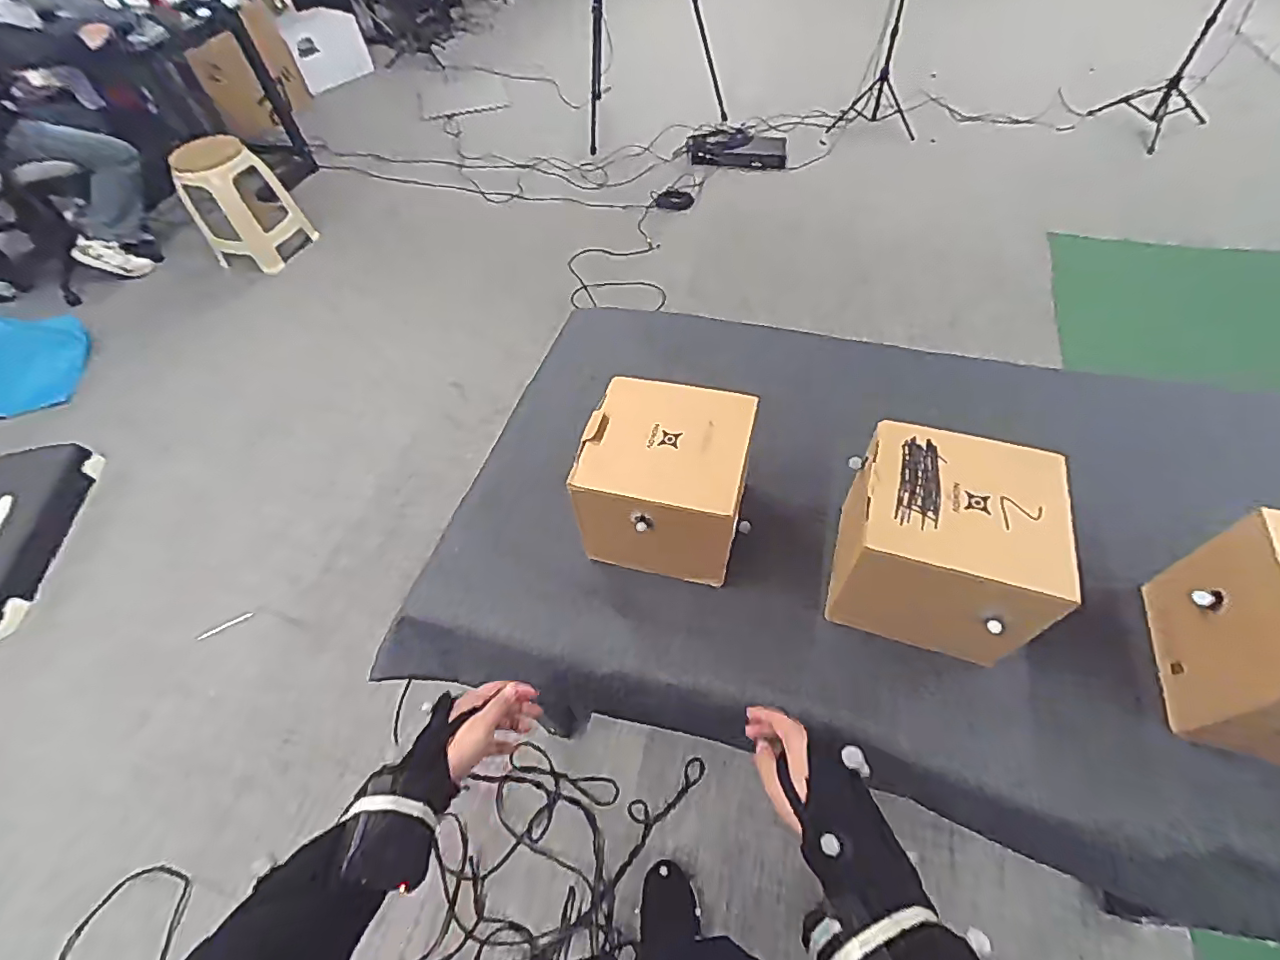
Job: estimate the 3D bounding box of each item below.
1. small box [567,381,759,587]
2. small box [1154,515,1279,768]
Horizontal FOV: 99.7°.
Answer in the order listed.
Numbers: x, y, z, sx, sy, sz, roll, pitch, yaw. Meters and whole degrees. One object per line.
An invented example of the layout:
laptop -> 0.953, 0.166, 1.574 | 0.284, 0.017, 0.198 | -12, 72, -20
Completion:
small box -> 0.034, 0.008, 0.645 | 0.179, 0.176, 0.168 | 12, 56, 13
small box -> 0.611, 0.159, 0.479 | 0.179, 0.176, 0.168 | 13, 55, 14
